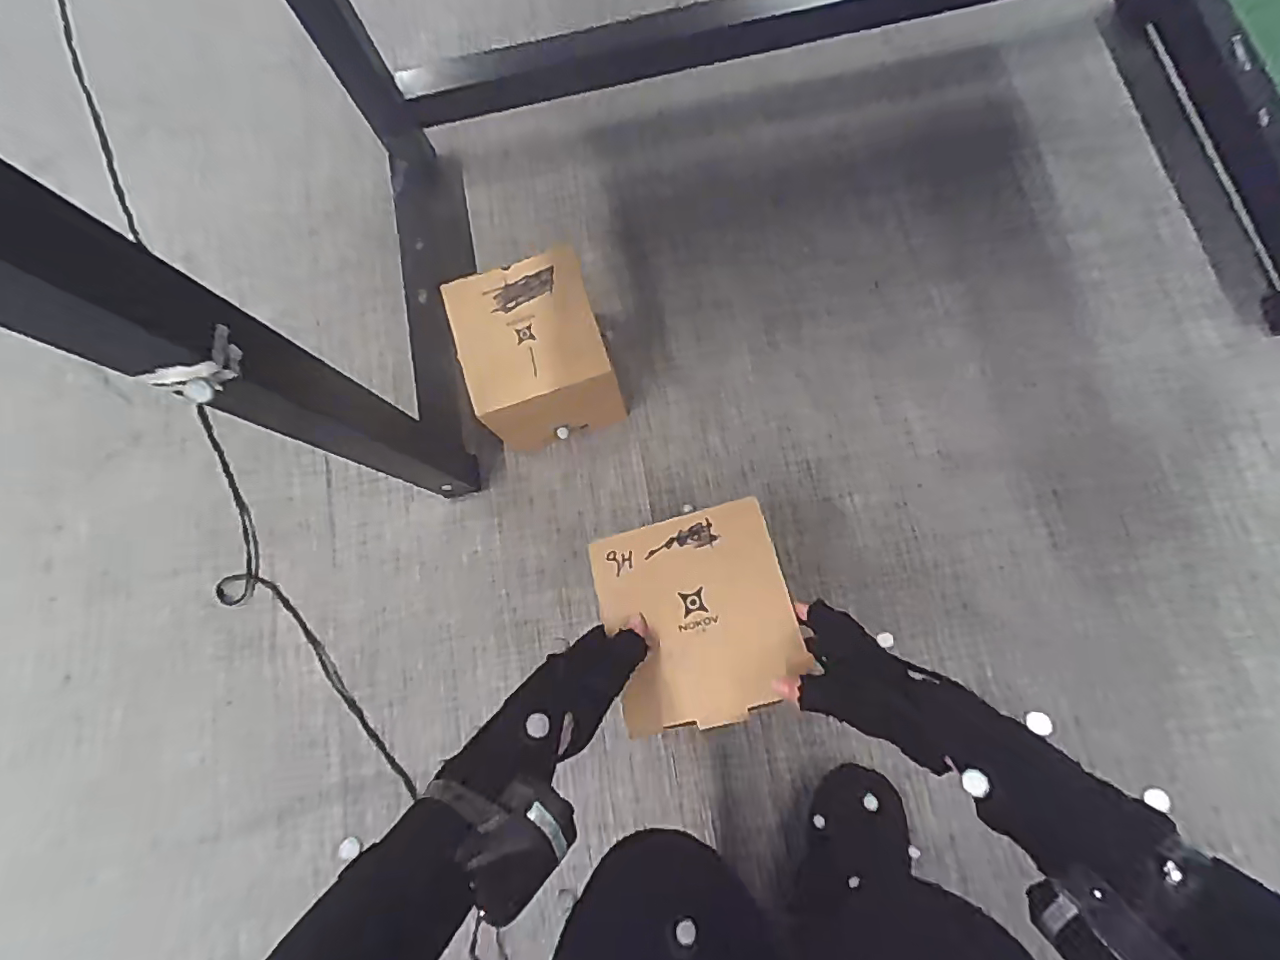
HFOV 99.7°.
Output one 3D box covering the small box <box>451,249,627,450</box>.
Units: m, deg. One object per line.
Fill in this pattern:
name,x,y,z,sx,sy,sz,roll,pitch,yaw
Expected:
small box,-0.123,-0.159,0.710,0.168,0.176,0.179,-18,78,1
